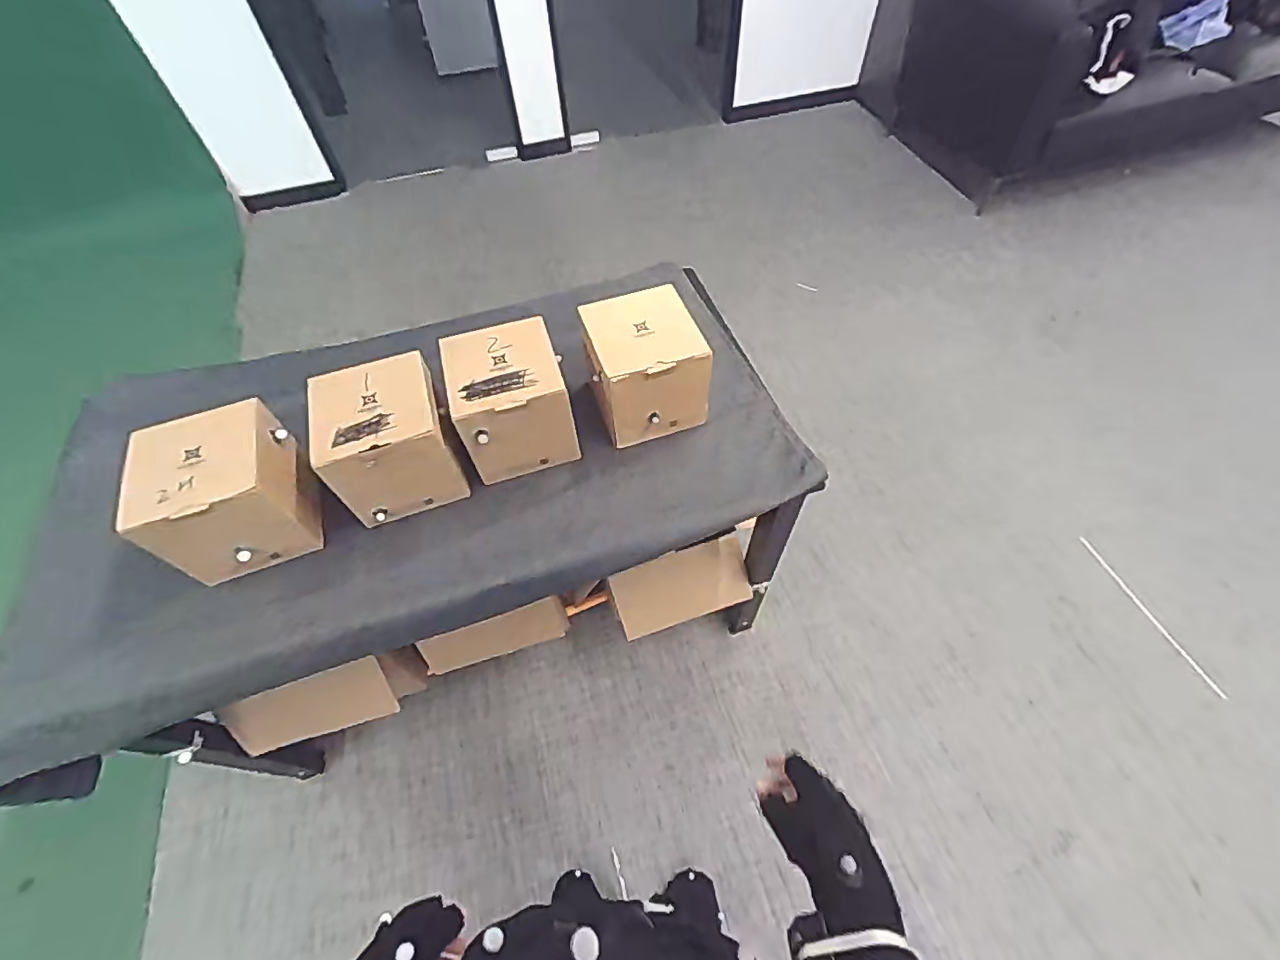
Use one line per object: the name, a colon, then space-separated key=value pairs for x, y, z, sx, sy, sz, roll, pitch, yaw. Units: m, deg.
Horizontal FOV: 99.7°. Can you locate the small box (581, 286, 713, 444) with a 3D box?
small box: x=0.008 y=-0.190 z=0.908 sx=0.168 sy=0.176 sz=0.179 roll=-18 pitch=58 yaw=-9

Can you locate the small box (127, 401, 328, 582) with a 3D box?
small box: x=-0.587 y=0.020 z=0.793 sx=0.168 sy=0.176 sz=0.179 roll=-20 pitch=58 yaw=-10
